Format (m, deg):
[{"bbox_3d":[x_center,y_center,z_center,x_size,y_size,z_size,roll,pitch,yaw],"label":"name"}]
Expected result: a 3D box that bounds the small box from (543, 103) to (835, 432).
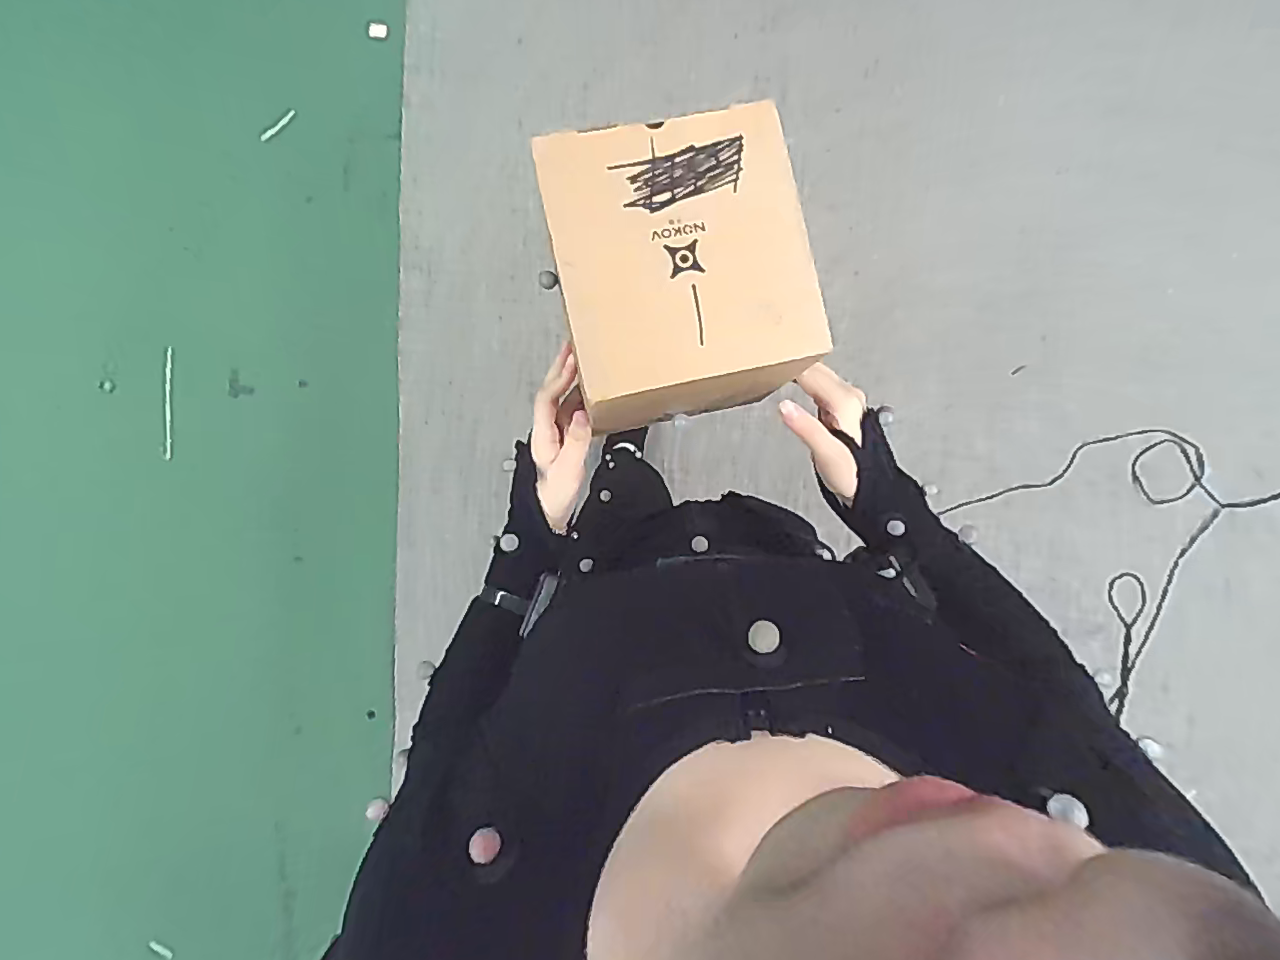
[{"bbox_3d":[0.025,-0.147,0.429,0.168,0.176,0.179,-12,89,-5],"label":"small box"}]
